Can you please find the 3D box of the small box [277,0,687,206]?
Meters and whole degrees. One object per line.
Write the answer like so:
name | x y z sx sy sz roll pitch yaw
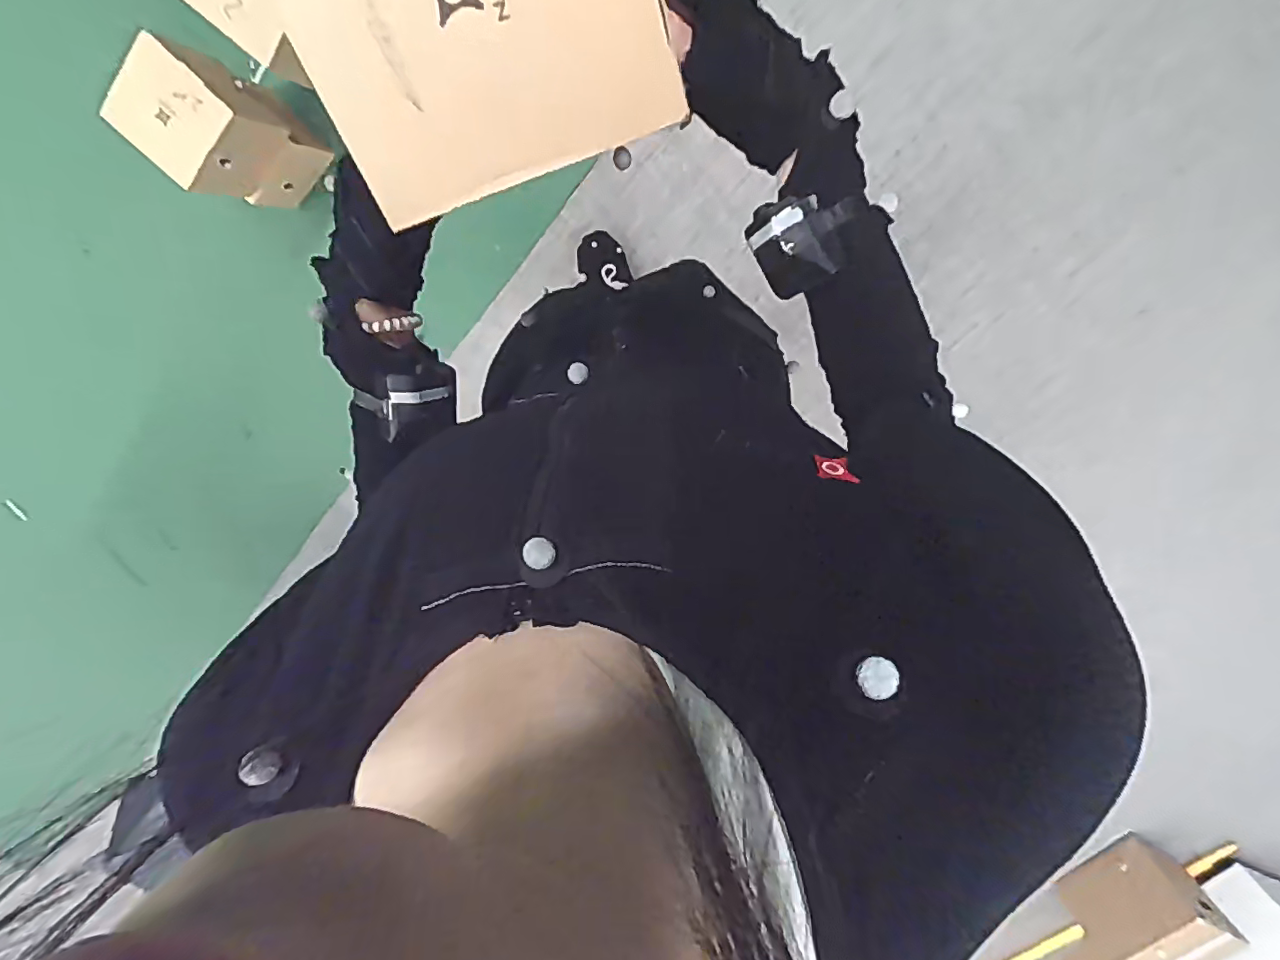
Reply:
small box | -0.082 -0.279 0.306 0.179 0.176 0.168 -14 123 10

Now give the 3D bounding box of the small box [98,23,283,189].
small box | -0.813 -0.669 0.998 0.179 0.176 0.168 -41 108 16

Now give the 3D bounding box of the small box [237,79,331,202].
small box | -0.811 -0.723 1.154 0.168 0.176 0.179 -40 108 16
